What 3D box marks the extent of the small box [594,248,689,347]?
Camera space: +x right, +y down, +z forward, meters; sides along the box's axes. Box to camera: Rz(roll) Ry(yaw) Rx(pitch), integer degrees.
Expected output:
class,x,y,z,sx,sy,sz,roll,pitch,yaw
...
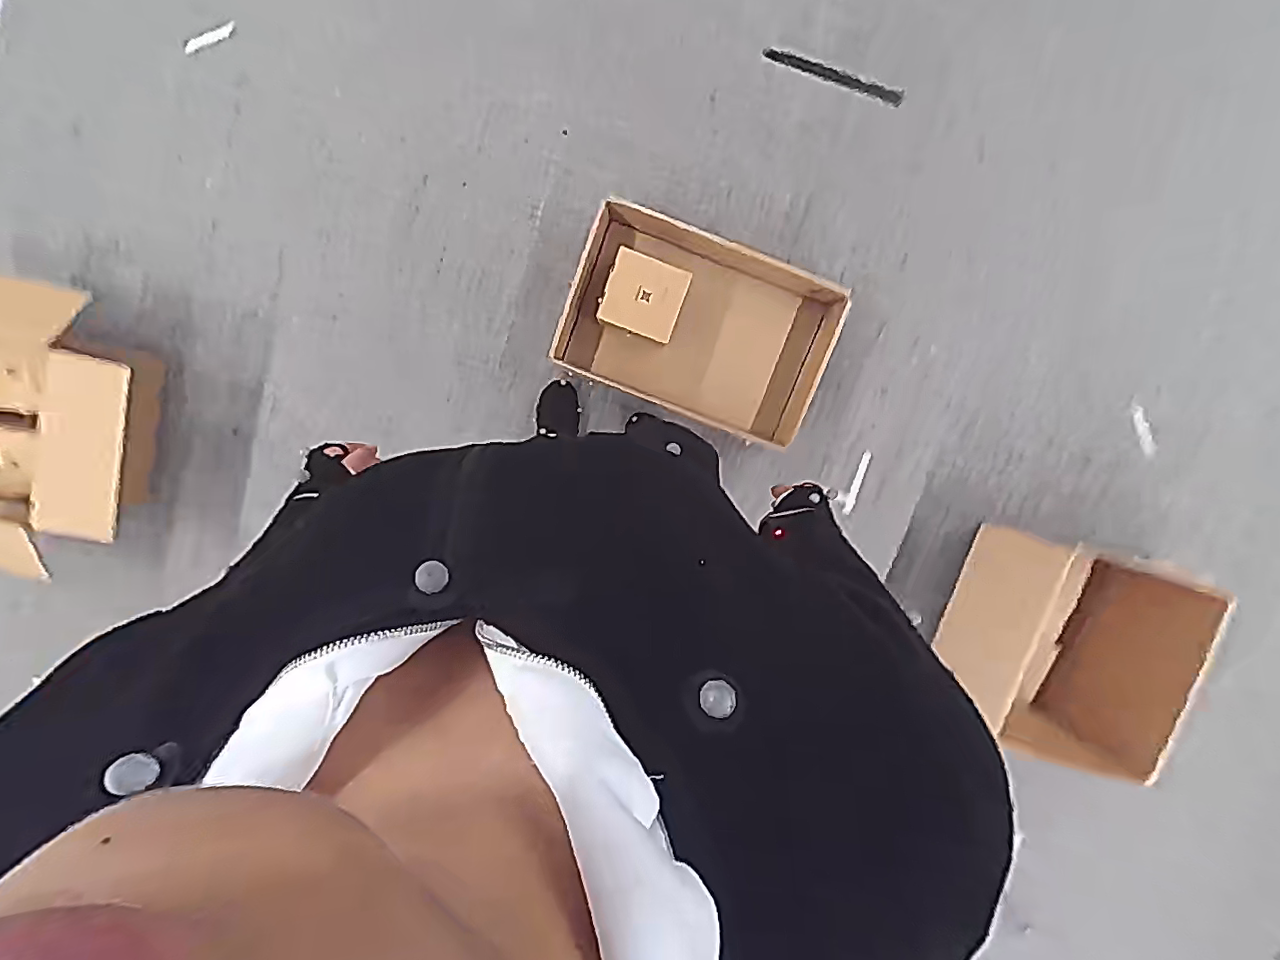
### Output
class,x,y,z,sx,sy,sz,roll,pitch,yaw
small box,0.001,-0.425,1.294,0.179,0.176,0.168,20,100,-5
